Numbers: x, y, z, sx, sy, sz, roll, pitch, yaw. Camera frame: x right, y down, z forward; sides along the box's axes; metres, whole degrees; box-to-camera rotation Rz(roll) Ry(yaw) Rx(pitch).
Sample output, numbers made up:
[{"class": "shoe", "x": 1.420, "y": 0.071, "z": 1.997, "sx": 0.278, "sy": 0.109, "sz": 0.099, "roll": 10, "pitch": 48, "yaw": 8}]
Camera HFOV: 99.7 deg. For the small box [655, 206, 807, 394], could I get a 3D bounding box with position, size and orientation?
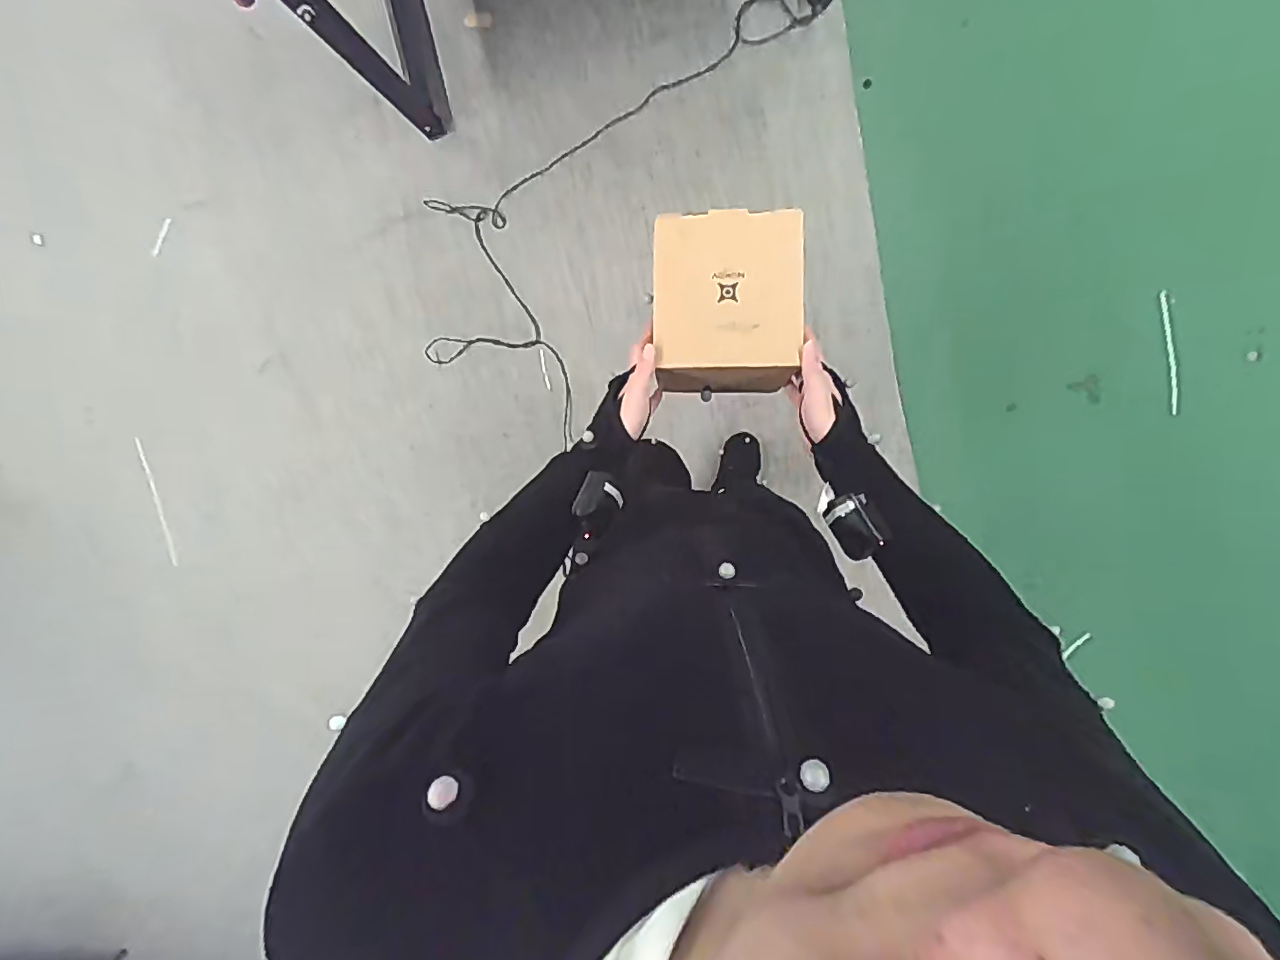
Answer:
[{"class": "small box", "x": 0.103, "y": -0.208, "z": 0.665, "sx": 0.168, "sy": 0.176, "sz": 0.179, "roll": 0, "pitch": 89, "yaw": 5}]
